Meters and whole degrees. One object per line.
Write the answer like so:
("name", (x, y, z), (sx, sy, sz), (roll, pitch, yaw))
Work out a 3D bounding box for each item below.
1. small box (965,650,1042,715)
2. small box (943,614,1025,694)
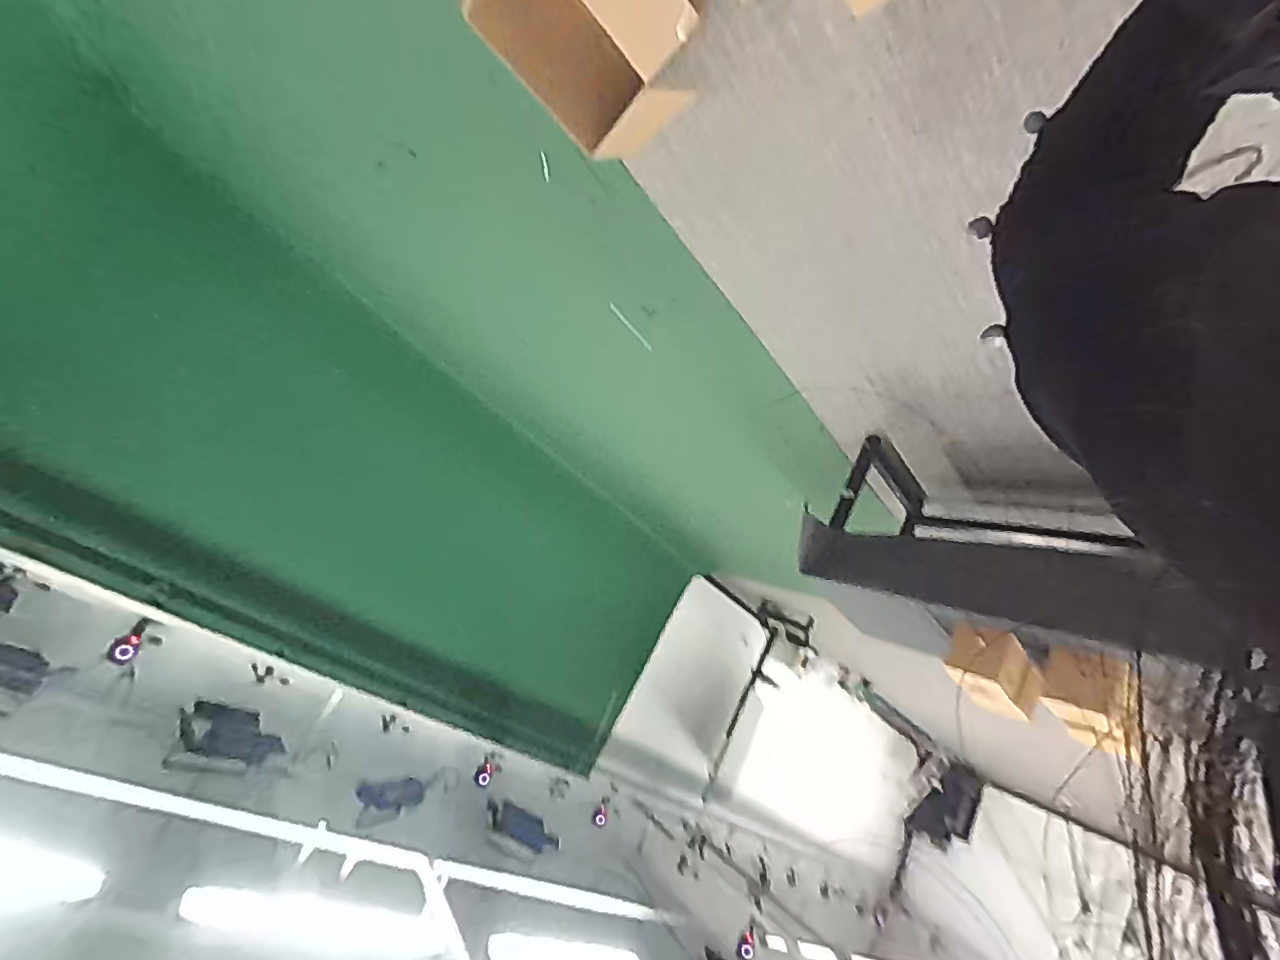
("small box", (1.260, 0.674, 1.867), (0.168, 0.176, 0.179), (7, 151, 51))
("small box", (1.126, 0.562, 1.760), (0.179, 0.176, 0.168), (42, 159, -33))
